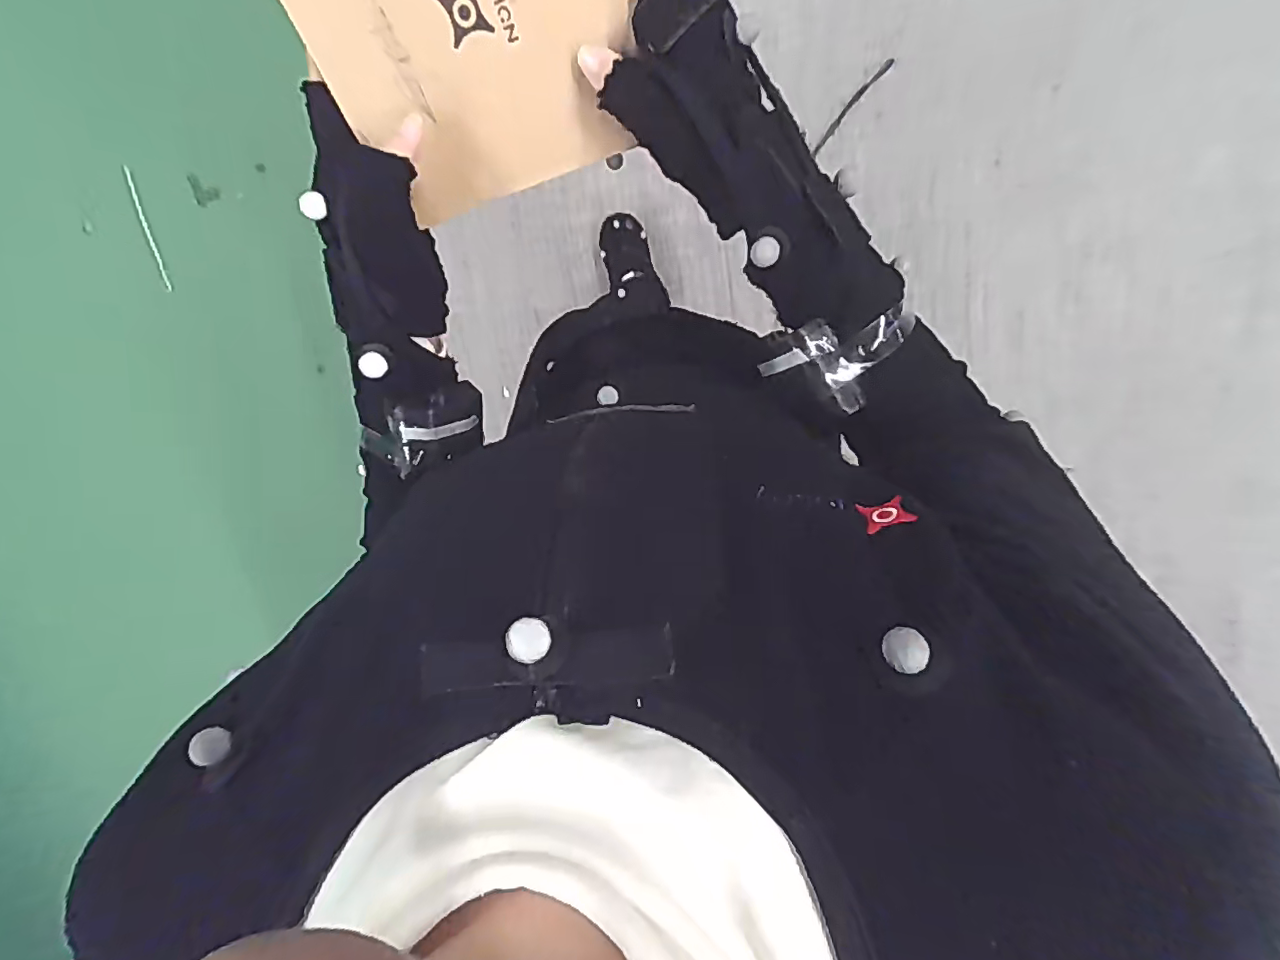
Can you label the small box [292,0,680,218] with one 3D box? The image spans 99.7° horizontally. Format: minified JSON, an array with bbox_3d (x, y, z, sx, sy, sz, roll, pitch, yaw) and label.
[{"bbox_3d":[-0.086,-0.292,0.334,0.179,0.176,0.168,-16,125,11],"label":"small box"}]
